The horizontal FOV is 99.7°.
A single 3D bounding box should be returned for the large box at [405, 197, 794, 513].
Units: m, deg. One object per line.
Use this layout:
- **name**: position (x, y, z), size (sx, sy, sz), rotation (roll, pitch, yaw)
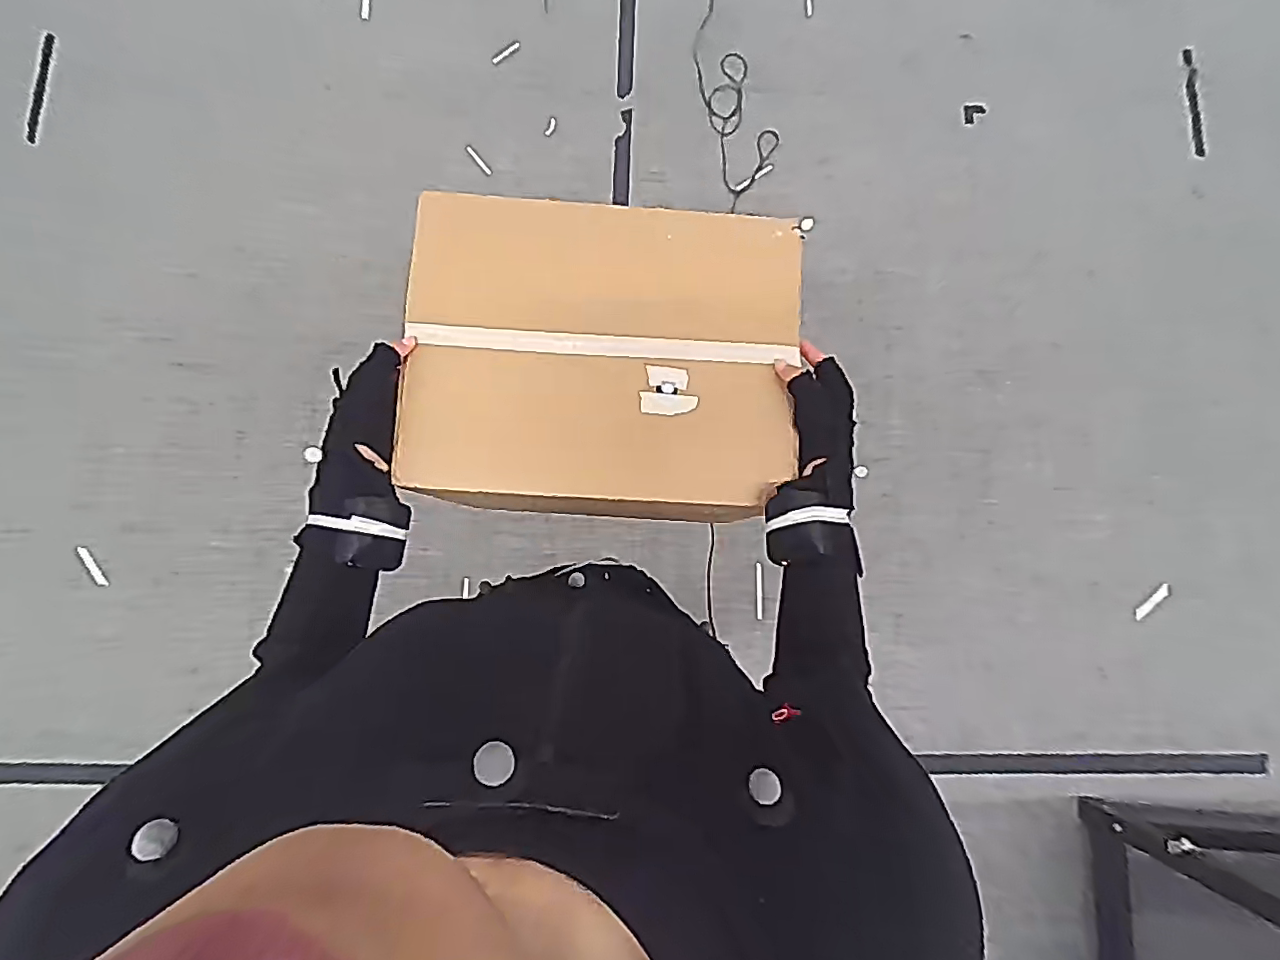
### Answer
- **large box**: position (-0.044, -0.125, 0.717), size (0.408, 0.320, 0.320), rotation (4, 84, -3)
